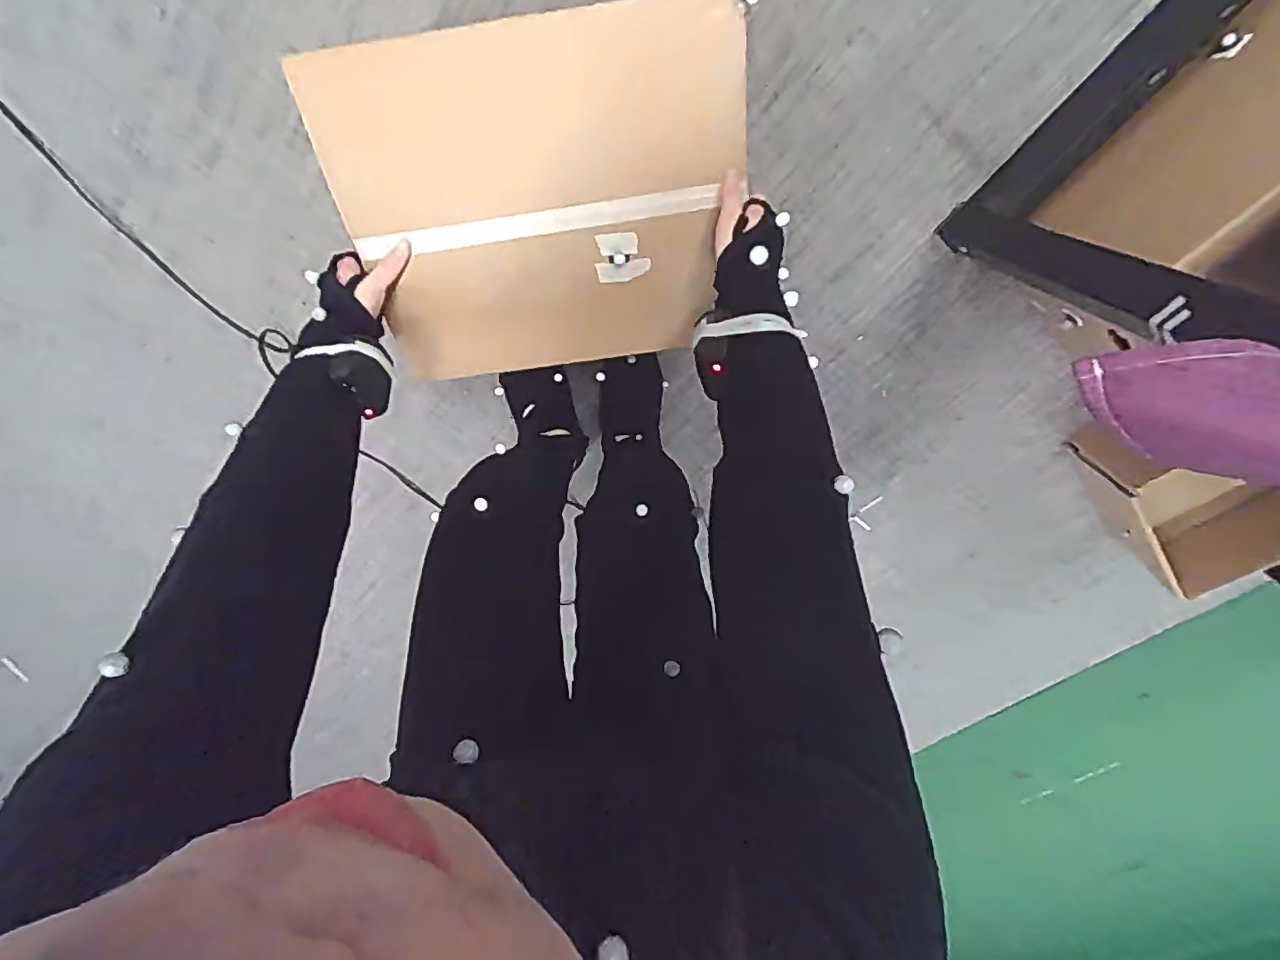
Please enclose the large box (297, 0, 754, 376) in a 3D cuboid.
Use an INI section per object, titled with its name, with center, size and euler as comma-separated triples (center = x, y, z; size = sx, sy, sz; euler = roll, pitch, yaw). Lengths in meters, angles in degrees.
[large box]
center = -0.093, -0.358, 0.667
size = 0.408, 0.320, 0.320
euler = -7, 127, 2
